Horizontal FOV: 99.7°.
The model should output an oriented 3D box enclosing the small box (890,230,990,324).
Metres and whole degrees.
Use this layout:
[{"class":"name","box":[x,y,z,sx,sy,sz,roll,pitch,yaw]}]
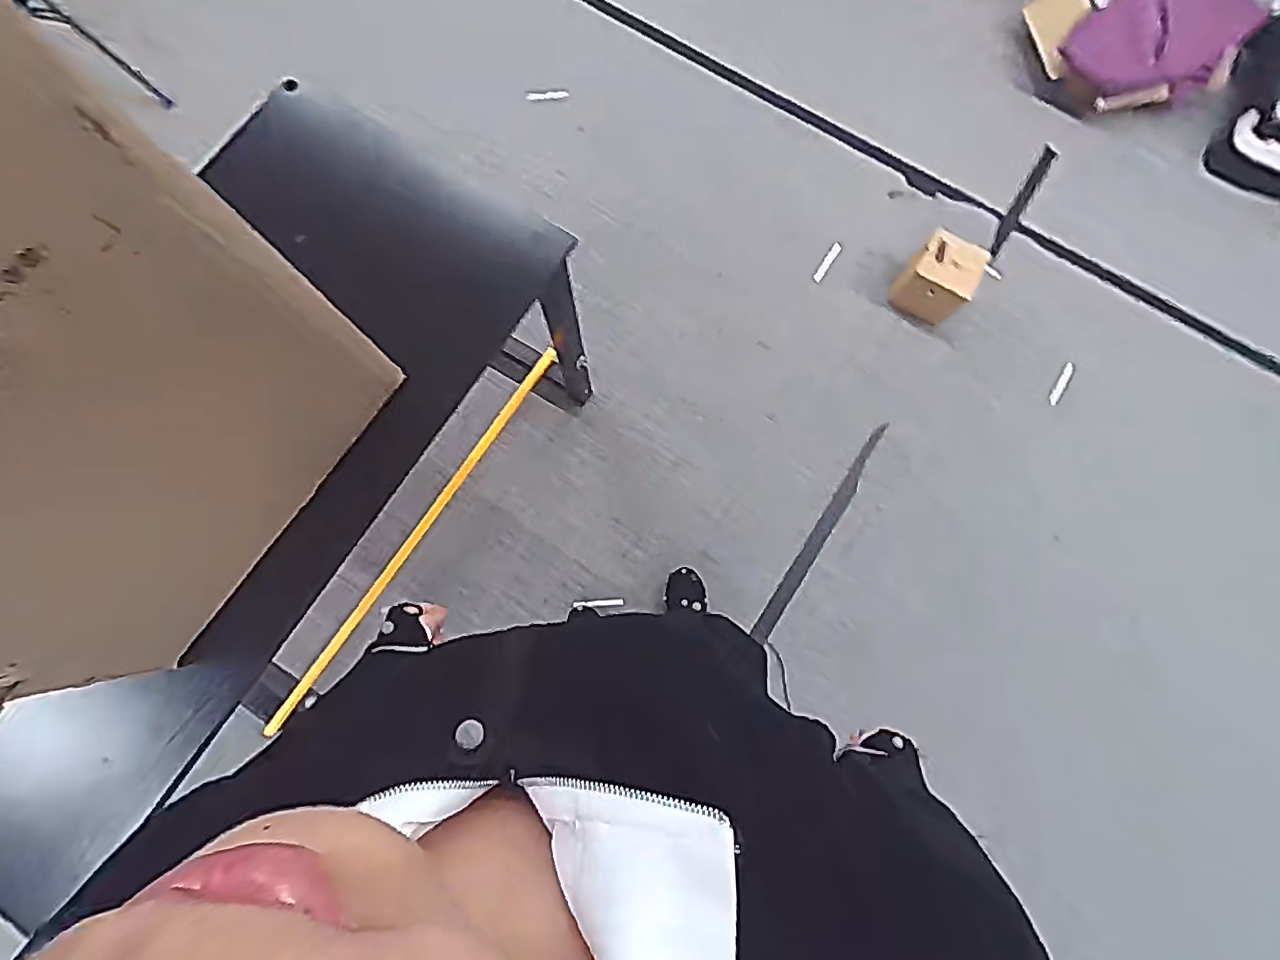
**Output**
[{"class":"small box","box":[0.884,-0.597,1.614,0.179,0.176,0.168,29,80,3]}]
